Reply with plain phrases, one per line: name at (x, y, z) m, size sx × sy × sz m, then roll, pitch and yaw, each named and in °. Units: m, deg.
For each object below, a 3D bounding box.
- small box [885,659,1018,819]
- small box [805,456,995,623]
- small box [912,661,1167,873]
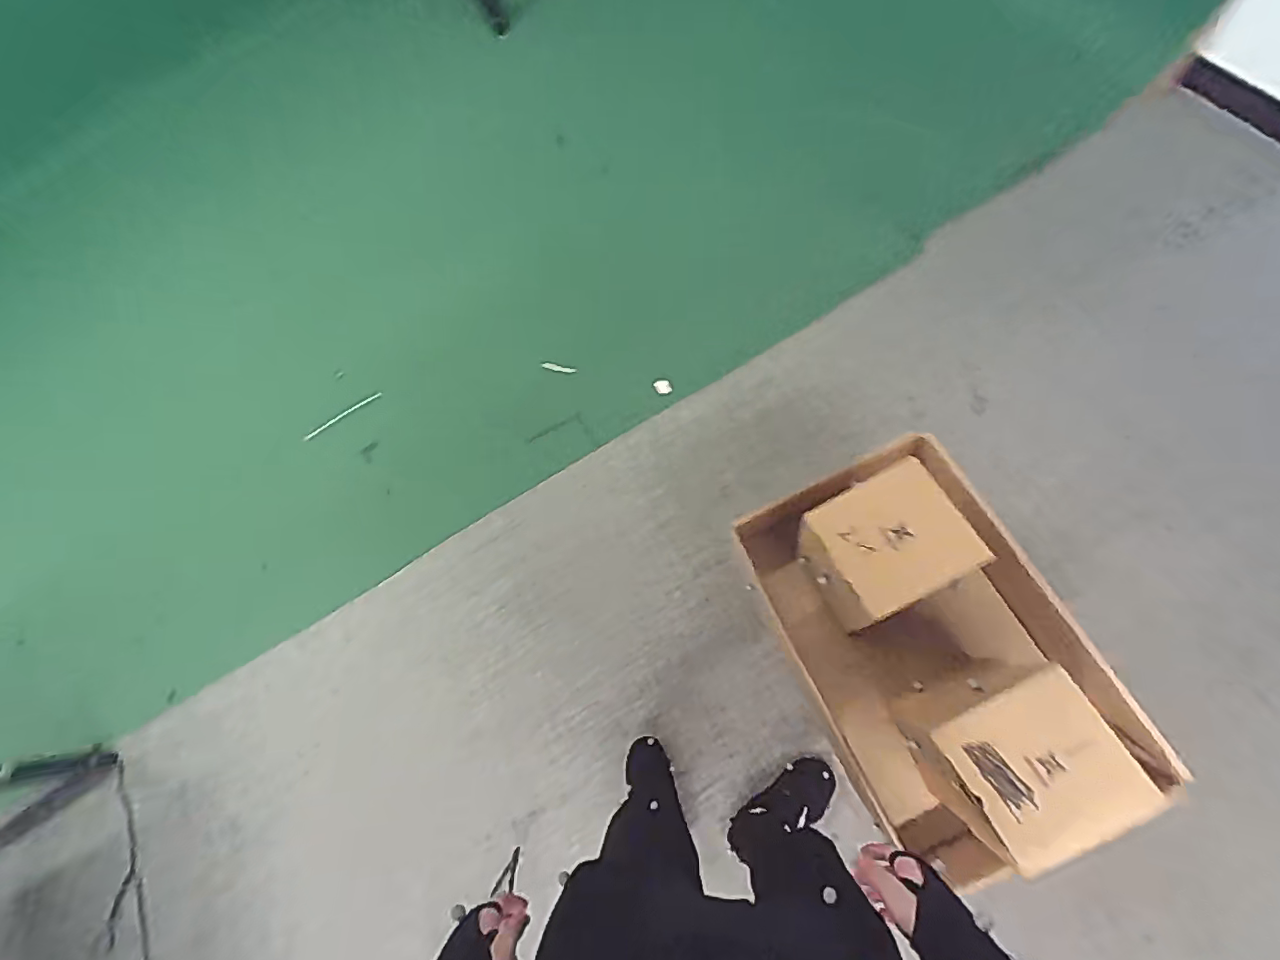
small box at (0.514, 0.387, 0.841) m, size 0.179 × 0.176 × 0.168 m, roll -25°, pitch 69°, yaw 5°
small box at (0.361, 0.095, 0.795) m, size 0.179 × 0.176 × 0.168 m, roll -28°, pitch 67°, yaw 3°
small box at (0.475, 0.347, 0.686) m, size 0.179 × 0.176 × 0.168 m, roll -29°, pitch 68°, yaw 3°
